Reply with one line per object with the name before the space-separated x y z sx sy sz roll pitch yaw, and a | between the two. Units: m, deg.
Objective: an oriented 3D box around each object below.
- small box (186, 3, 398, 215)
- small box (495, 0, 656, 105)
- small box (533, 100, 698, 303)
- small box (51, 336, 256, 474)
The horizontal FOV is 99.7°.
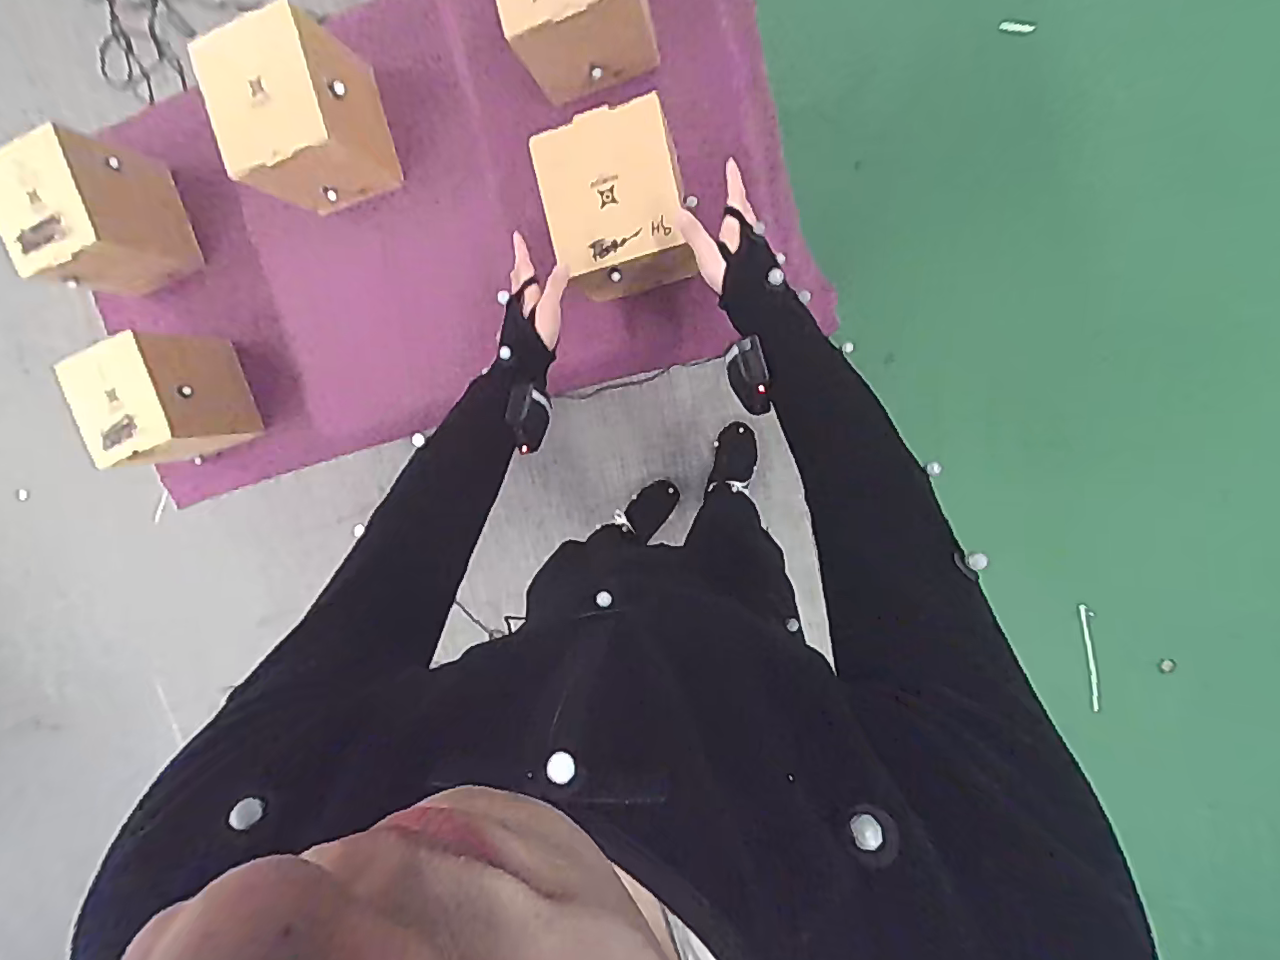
small box | -0.489 -0.518 0.785 0.168 0.176 0.179 -12 98 11
small box | -0.086 -0.632 0.690 0.168 0.176 0.179 -11 98 14
small box | -0.022 -0.356 0.730 0.168 0.176 0.179 -12 97 13
small box | -0.793 -0.124 0.901 0.168 0.176 0.179 -17 94 12
